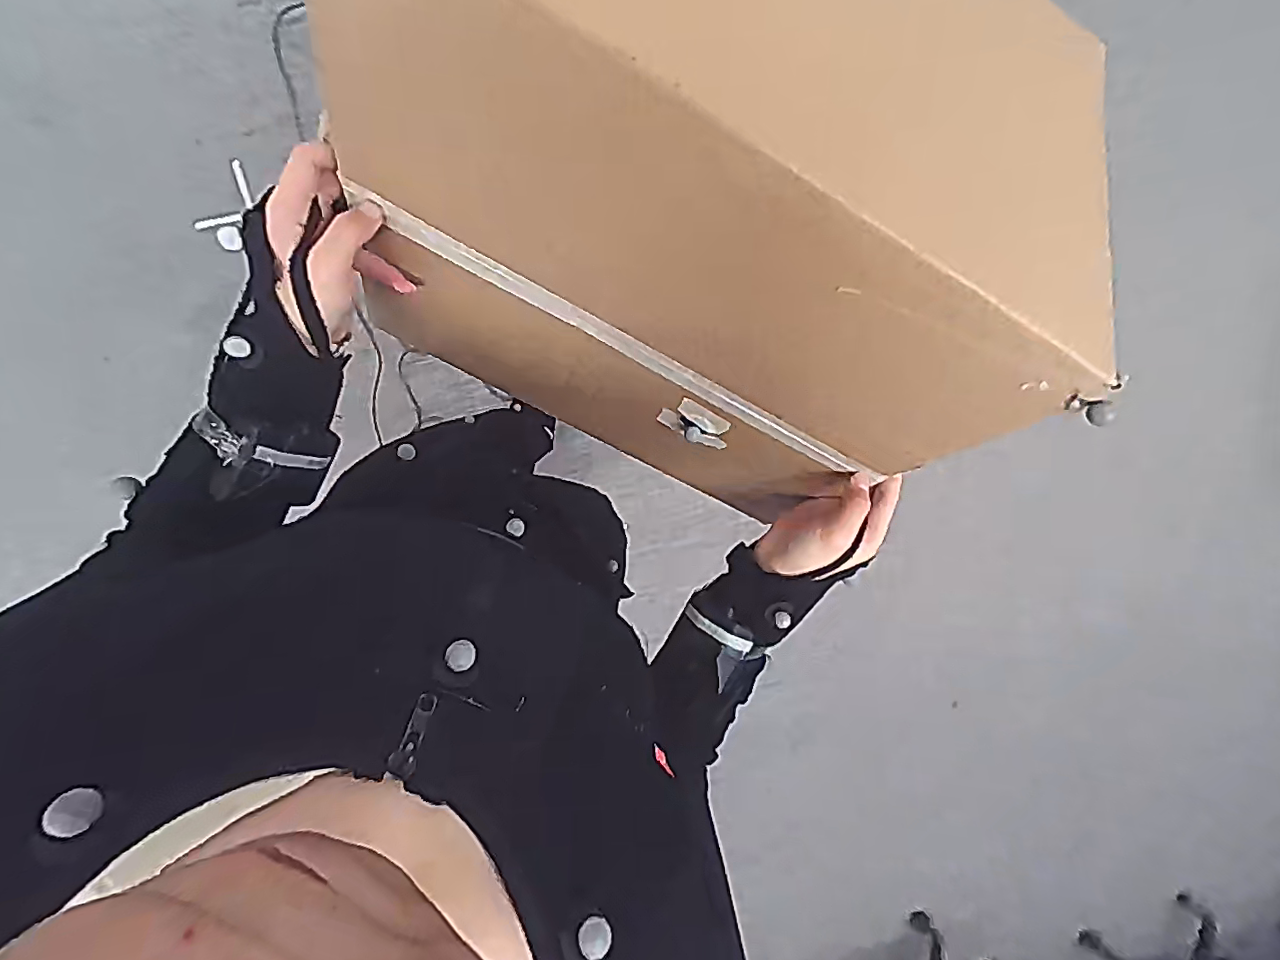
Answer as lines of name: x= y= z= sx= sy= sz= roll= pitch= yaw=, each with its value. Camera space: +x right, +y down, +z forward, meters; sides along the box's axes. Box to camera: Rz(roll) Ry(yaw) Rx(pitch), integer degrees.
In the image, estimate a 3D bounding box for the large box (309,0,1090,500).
large box: x=0.042 y=-0.232 z=0.424 sx=0.408 sy=0.320 sz=0.320 roll=24 pitch=68 yaw=-12
